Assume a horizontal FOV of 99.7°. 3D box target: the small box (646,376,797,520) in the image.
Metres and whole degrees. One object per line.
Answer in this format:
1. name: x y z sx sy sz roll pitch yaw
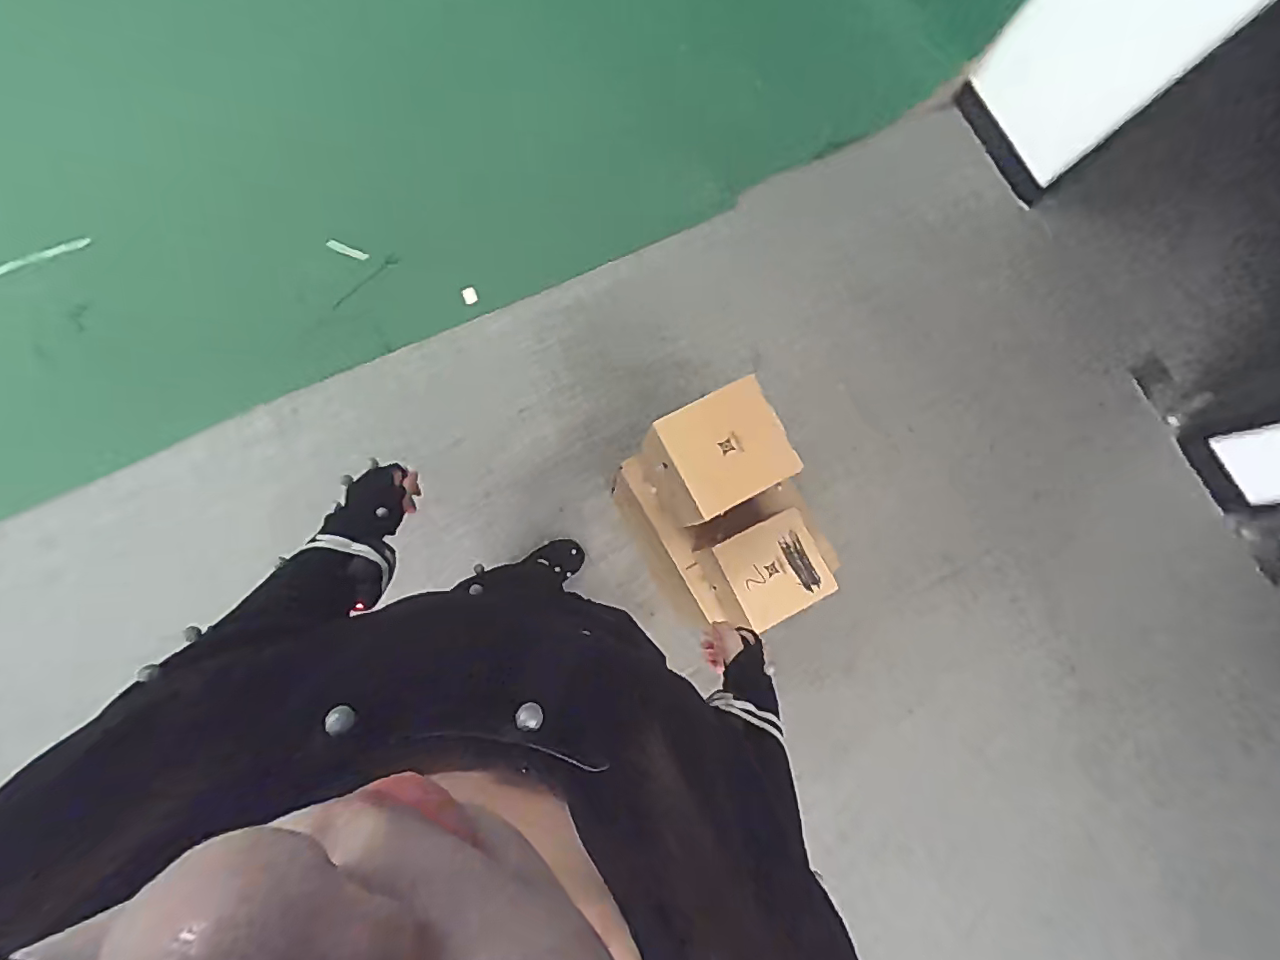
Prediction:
1. small box: 0.120 -0.042 0.890 0.179 0.176 0.168 -27 87 -9

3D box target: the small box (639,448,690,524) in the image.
1. small box: 0.113 -0.025 1.052 0.179 0.176 0.168 -26 86 -8
